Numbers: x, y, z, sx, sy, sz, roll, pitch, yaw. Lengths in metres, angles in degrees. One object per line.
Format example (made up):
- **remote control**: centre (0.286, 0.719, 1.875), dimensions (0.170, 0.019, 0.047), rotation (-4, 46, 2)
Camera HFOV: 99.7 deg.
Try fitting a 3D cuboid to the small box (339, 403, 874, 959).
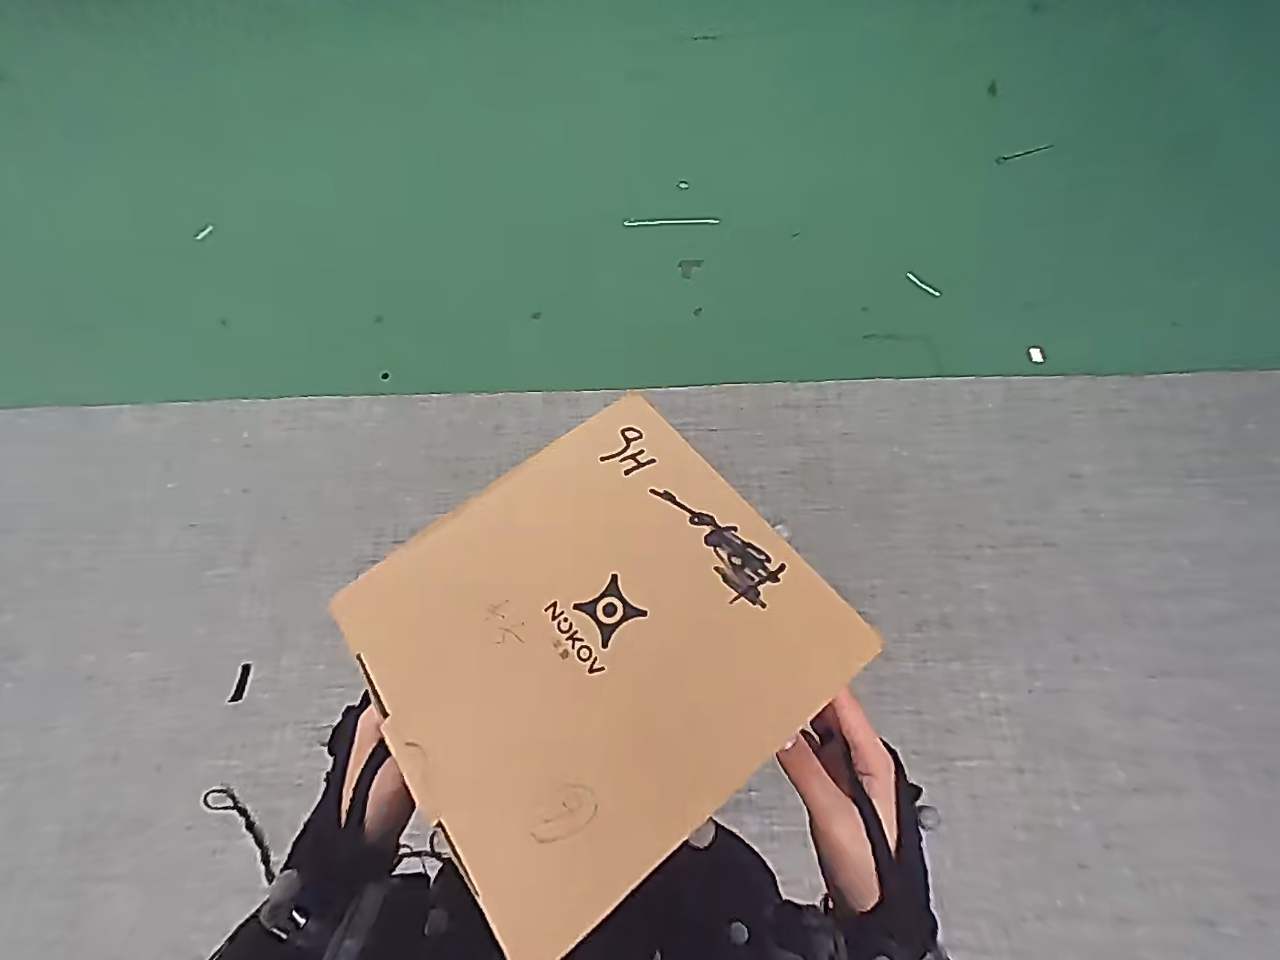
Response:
- **small box**: centre (-0.013, 0.099, 0.298), dimensions (0.179, 0.176, 0.168), rotation (-36, 65, -13)
